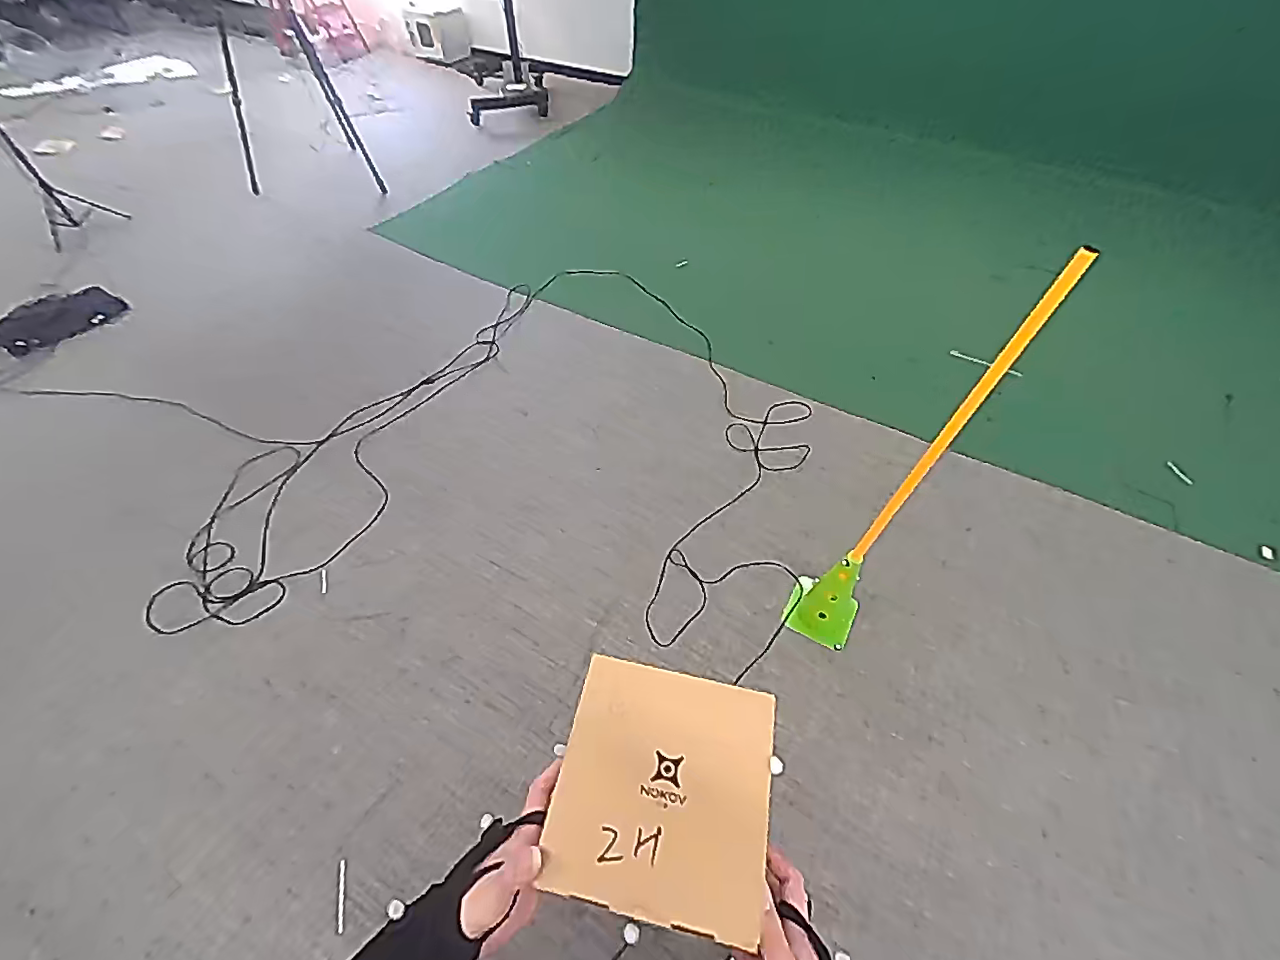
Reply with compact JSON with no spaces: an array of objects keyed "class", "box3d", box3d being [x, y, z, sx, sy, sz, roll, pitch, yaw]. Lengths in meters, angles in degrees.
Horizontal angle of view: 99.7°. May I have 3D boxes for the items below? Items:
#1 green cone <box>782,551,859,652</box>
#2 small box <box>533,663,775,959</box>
[{"class":"green cone","box3d":[0.575,0.319,1.591,0.202,0.368,0.200,24,54,18]},{"class":"small box","box3d":[0.016,0.299,0.492,0.168,0.176,0.179,12,51,7]}]
